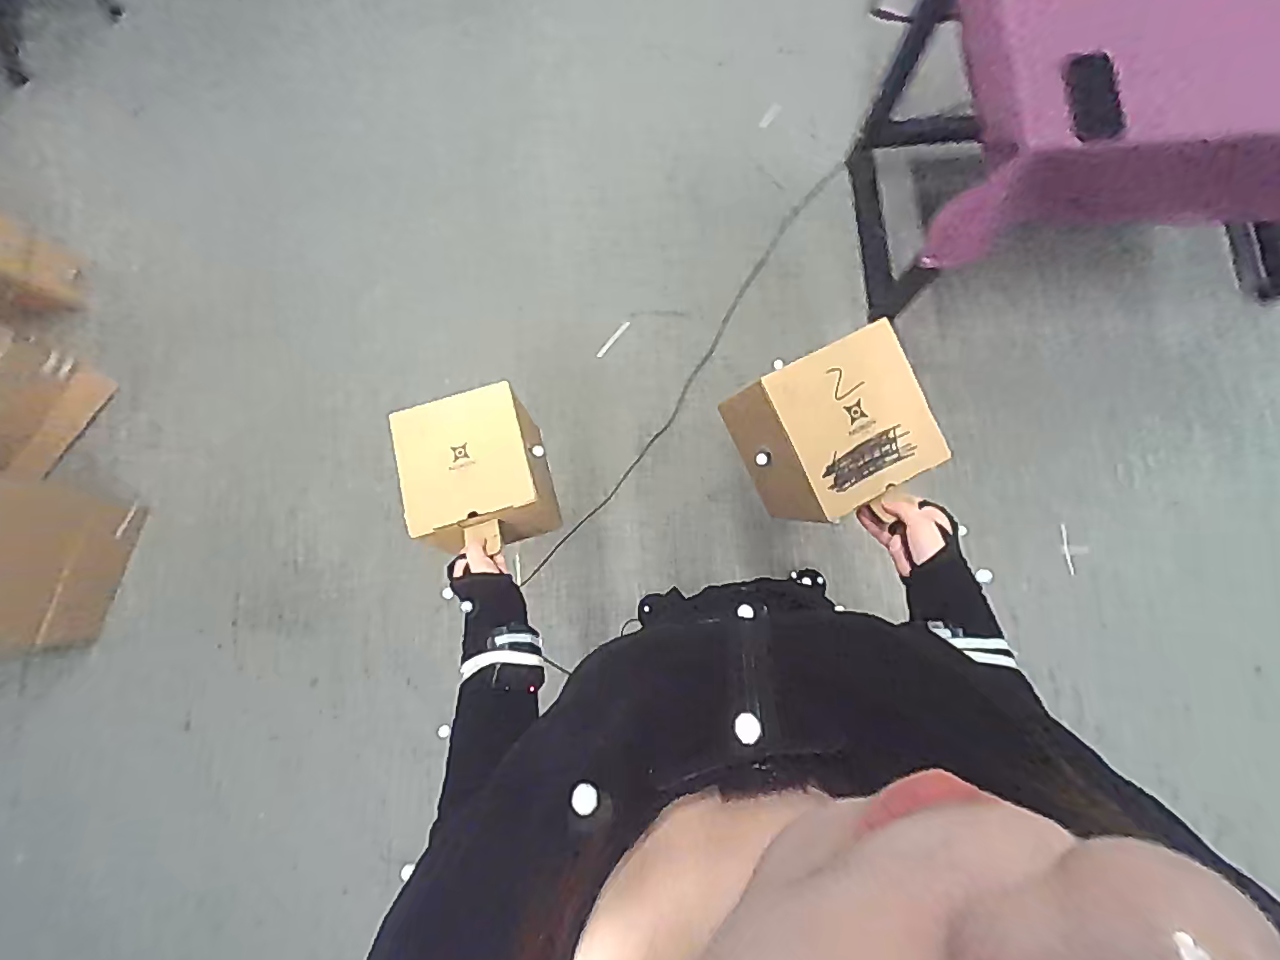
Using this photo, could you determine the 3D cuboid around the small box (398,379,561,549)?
[{"bbox_3d":[-0.221,-0.015,0.774,0.168,0.176,0.179,-15,74,-1],"label":"small box"}]
